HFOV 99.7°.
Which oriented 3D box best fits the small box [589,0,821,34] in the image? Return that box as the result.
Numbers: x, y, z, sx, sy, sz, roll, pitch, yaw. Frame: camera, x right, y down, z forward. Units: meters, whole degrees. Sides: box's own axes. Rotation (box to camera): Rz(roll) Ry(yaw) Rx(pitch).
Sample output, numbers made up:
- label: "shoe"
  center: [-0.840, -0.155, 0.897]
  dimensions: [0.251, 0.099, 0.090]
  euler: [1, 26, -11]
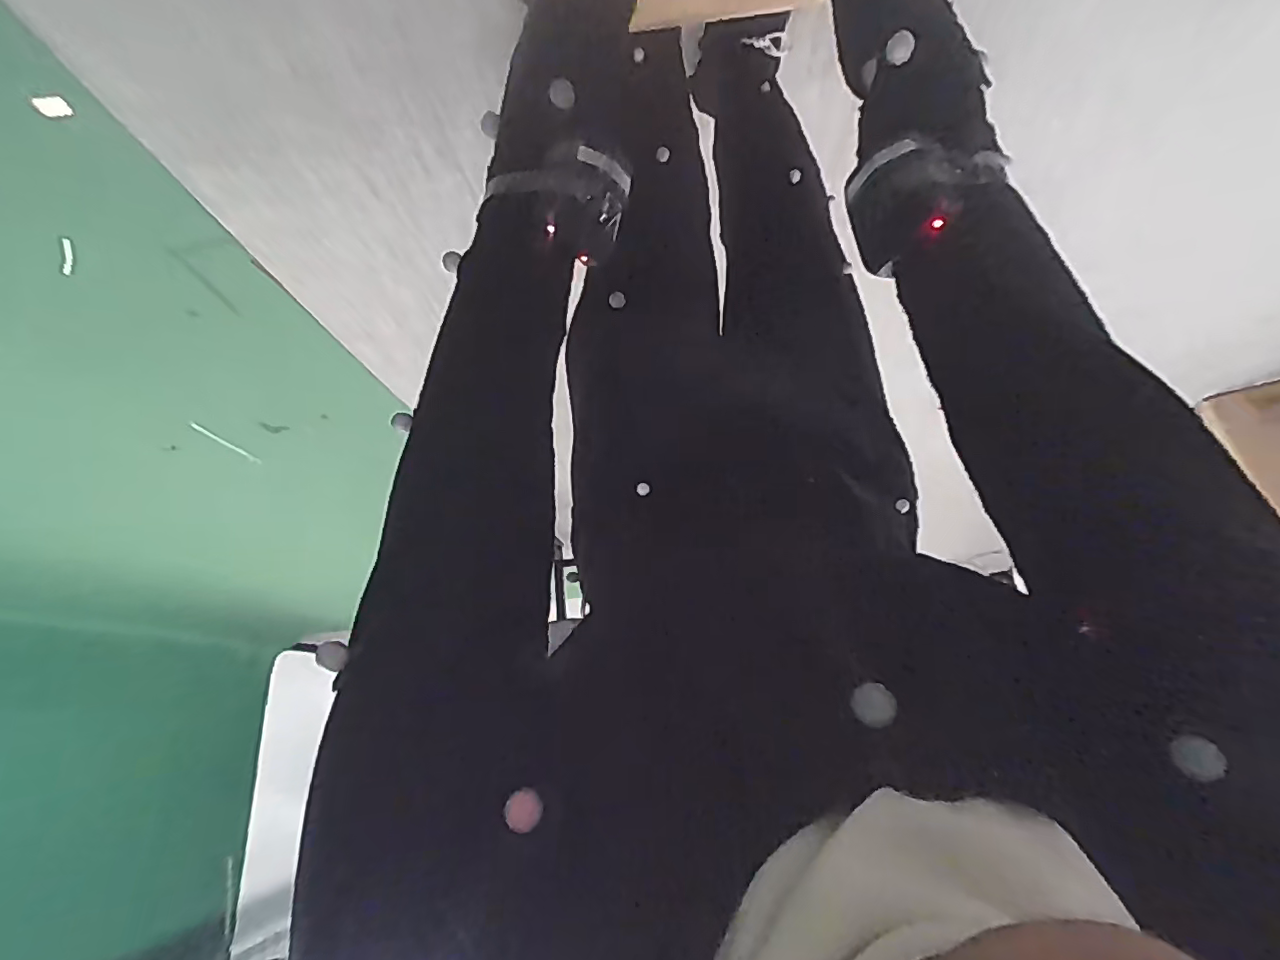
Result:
- label: "small box"
  center: [0.038, -0.453, 0.369]
  dimensions: [0.179, 0.176, 0.168]
  euler: [-6, 154, 2]
